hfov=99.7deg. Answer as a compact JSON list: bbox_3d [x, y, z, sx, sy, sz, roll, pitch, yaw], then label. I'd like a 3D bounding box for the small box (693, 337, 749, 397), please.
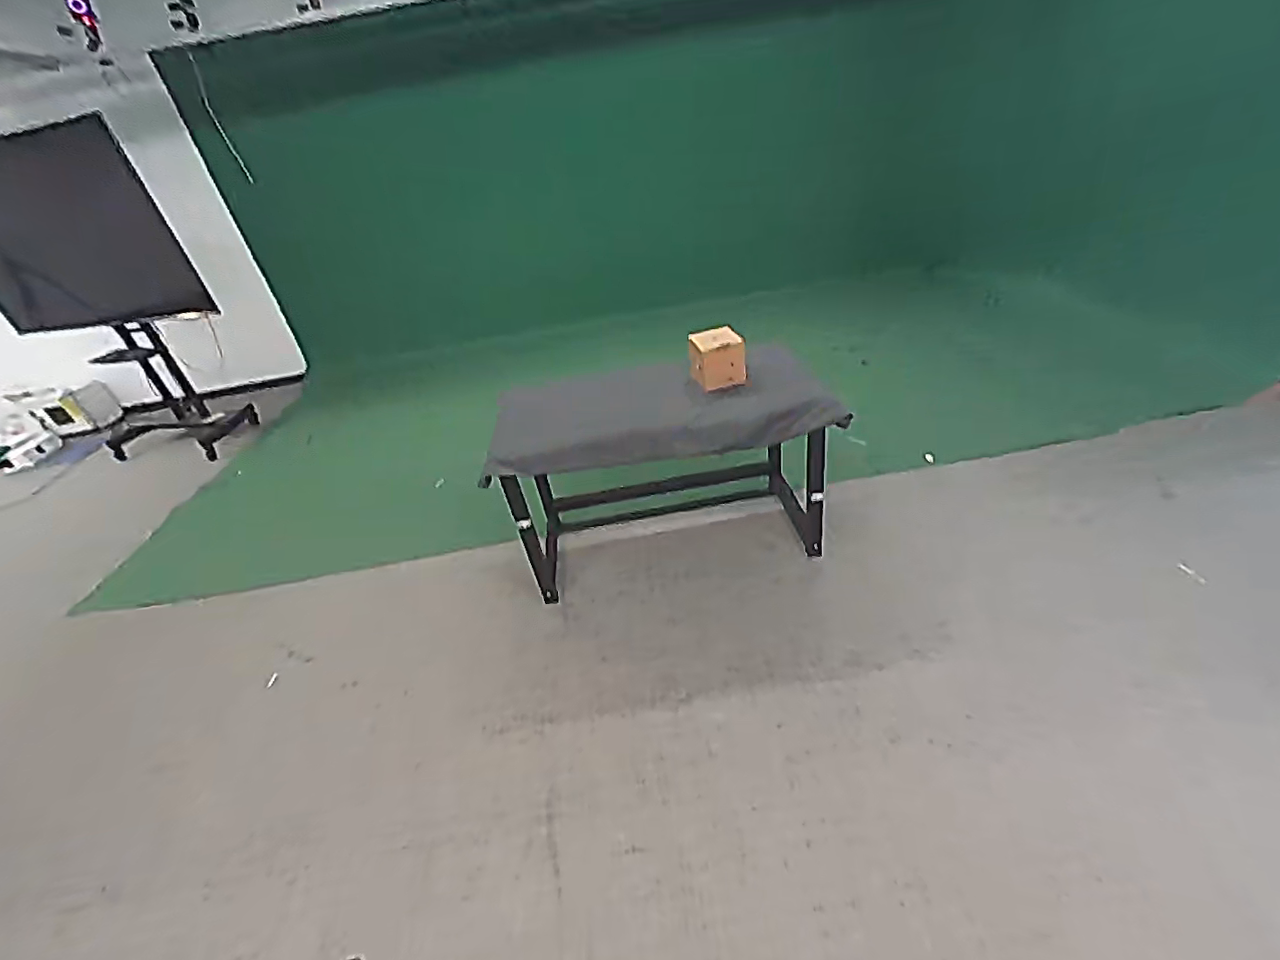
[{"bbox_3d":[0.314,-0.433,2.090,0.168,0.176,0.179,-13,32,-8],"label":"small box"}]
